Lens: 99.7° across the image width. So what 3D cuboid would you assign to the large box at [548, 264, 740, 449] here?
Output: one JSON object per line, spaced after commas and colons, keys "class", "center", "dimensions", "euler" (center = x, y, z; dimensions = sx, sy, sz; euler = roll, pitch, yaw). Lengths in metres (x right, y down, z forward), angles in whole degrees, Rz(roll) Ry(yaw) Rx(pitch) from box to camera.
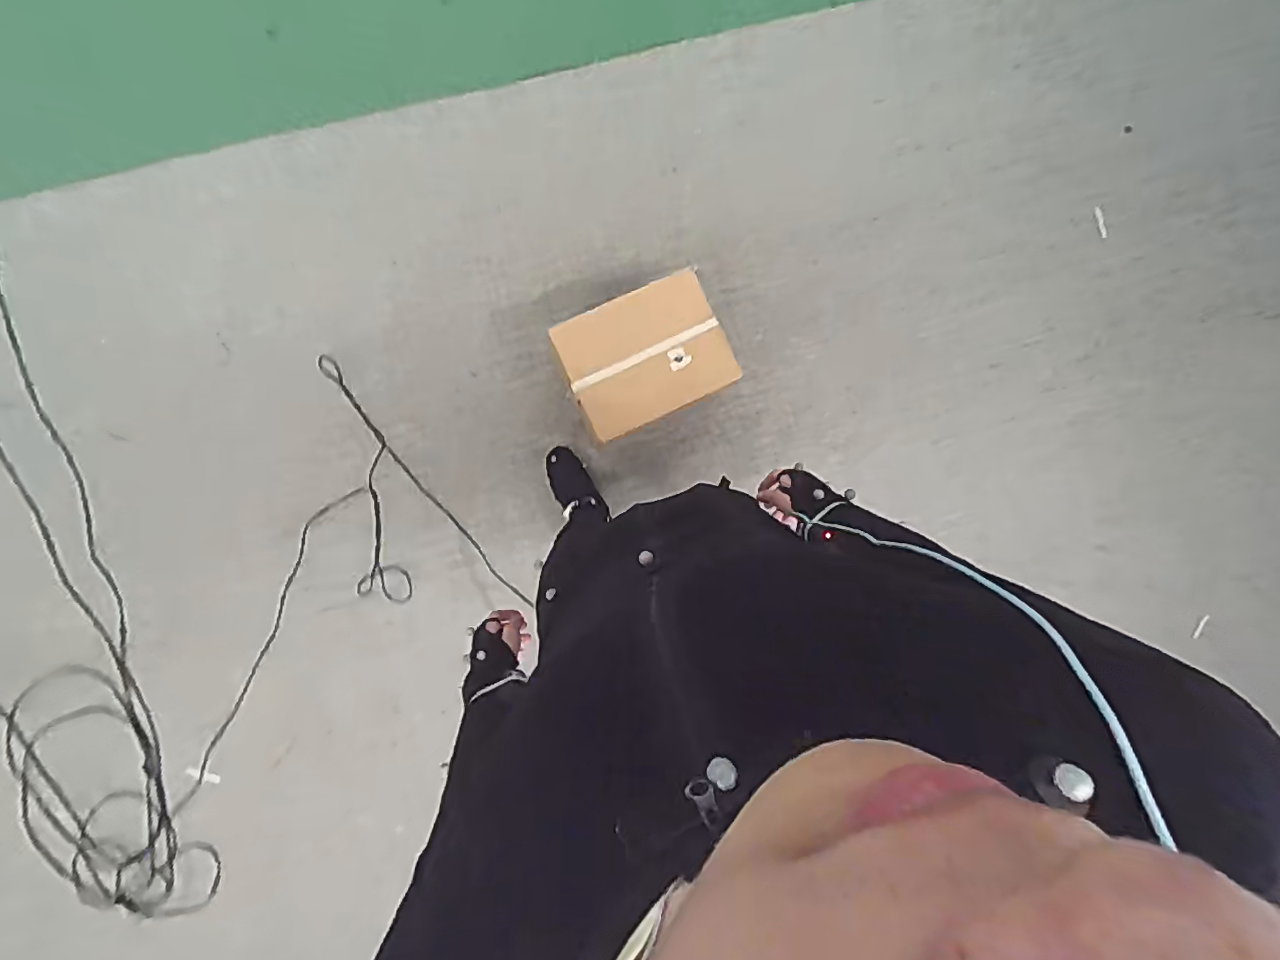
{"class": "large box", "center": [-0.003, -0.318, 1.493], "dimensions": [0.408, 0.320, 0.320], "euler": [-26, 92, -6]}
